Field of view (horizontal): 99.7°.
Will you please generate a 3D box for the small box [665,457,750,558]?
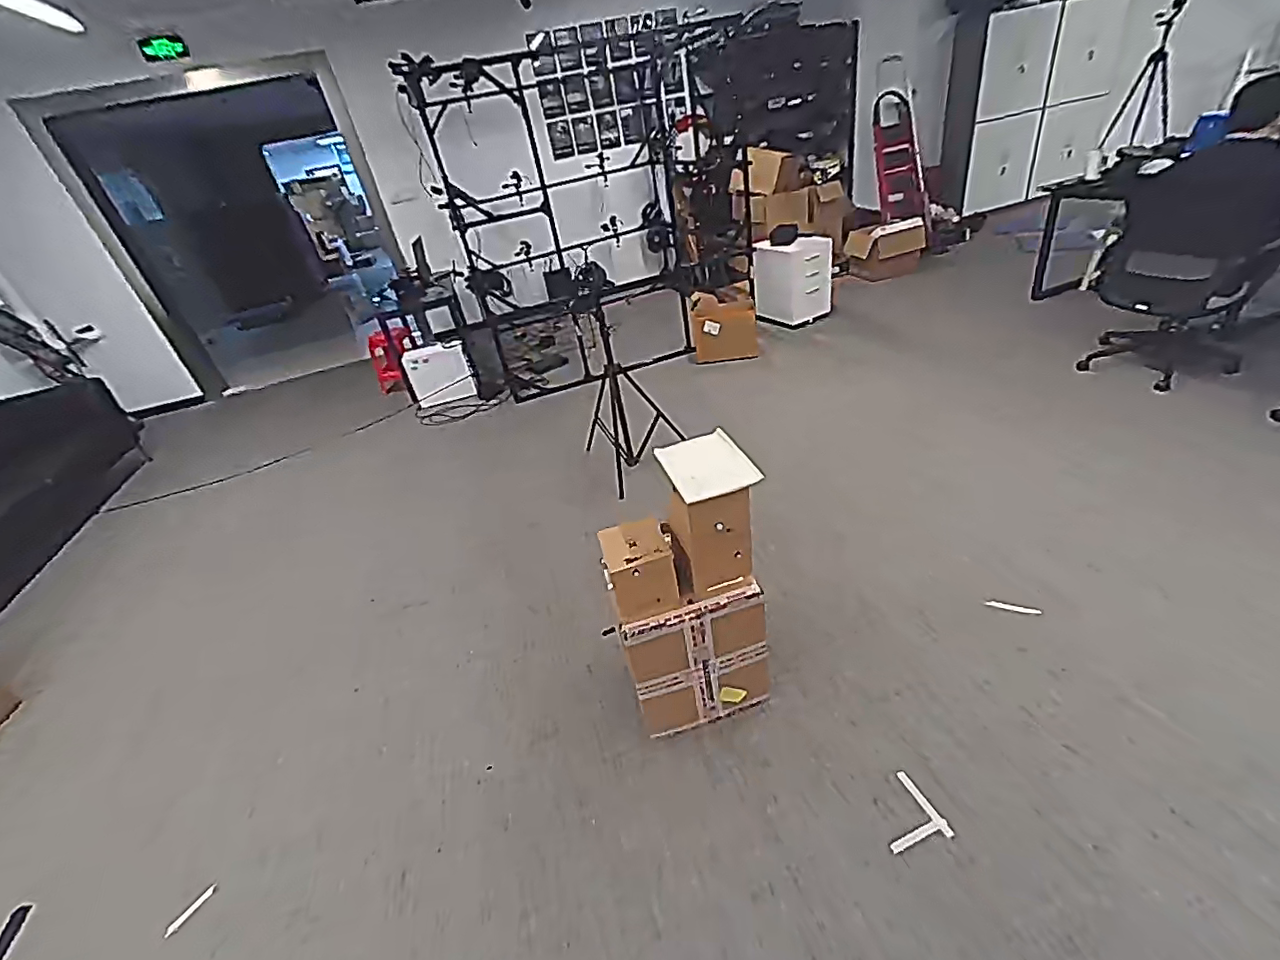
[{"bbox_3d":[0.171,0.070,1.386,0.168,0.176,0.179,-15,35,-9],"label":"small box"}]
